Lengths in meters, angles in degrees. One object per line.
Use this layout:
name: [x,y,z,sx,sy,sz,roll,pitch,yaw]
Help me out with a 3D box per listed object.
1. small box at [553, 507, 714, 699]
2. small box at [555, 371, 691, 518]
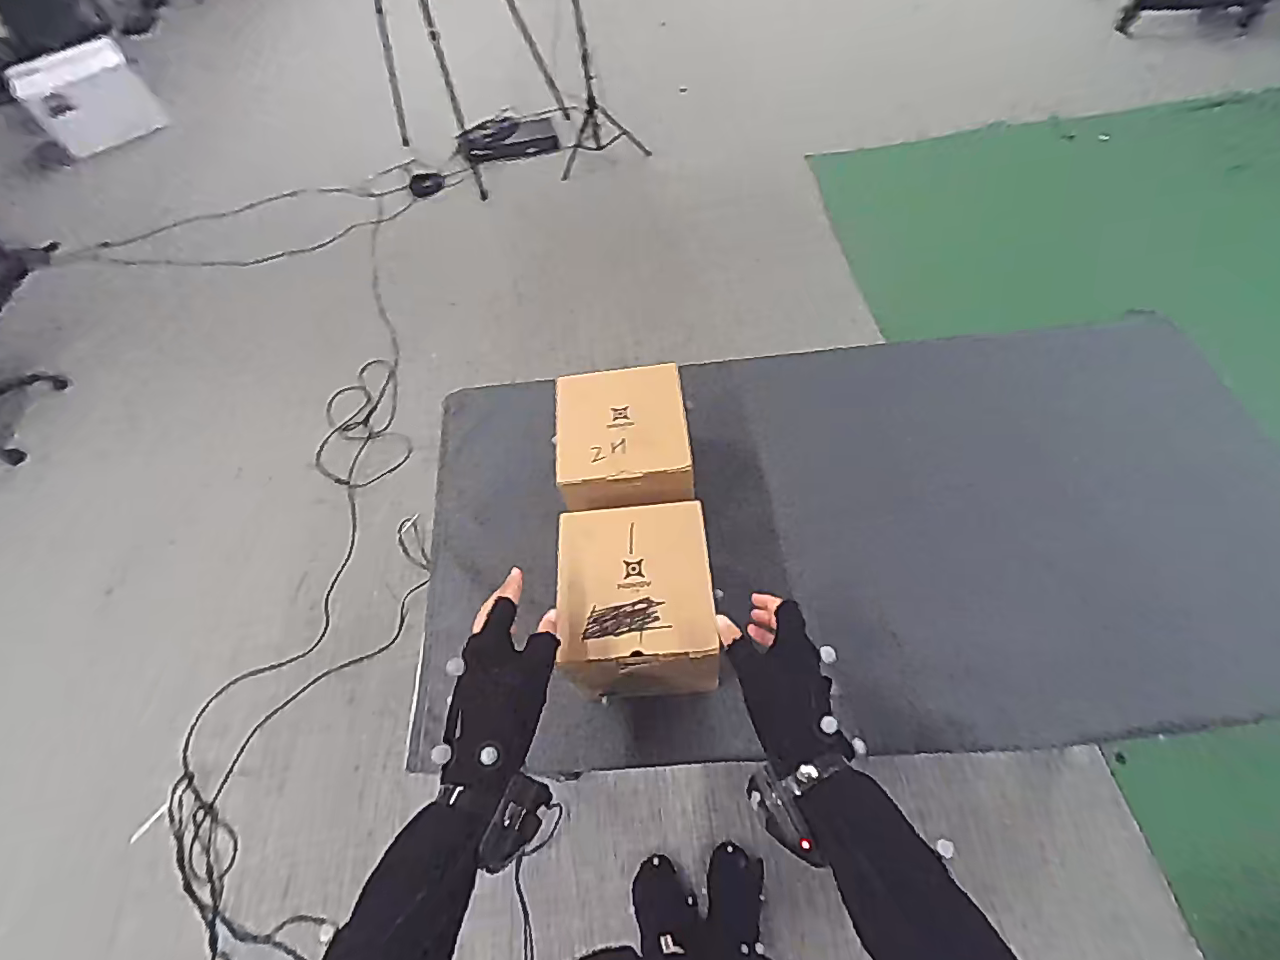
small box: [-0.002,0.154,0.643,0.168,0.176,0.179,-5,55,2]
small box: [-0.020,-0.026,0.761,0.168,0.176,0.179,-6,58,2]
